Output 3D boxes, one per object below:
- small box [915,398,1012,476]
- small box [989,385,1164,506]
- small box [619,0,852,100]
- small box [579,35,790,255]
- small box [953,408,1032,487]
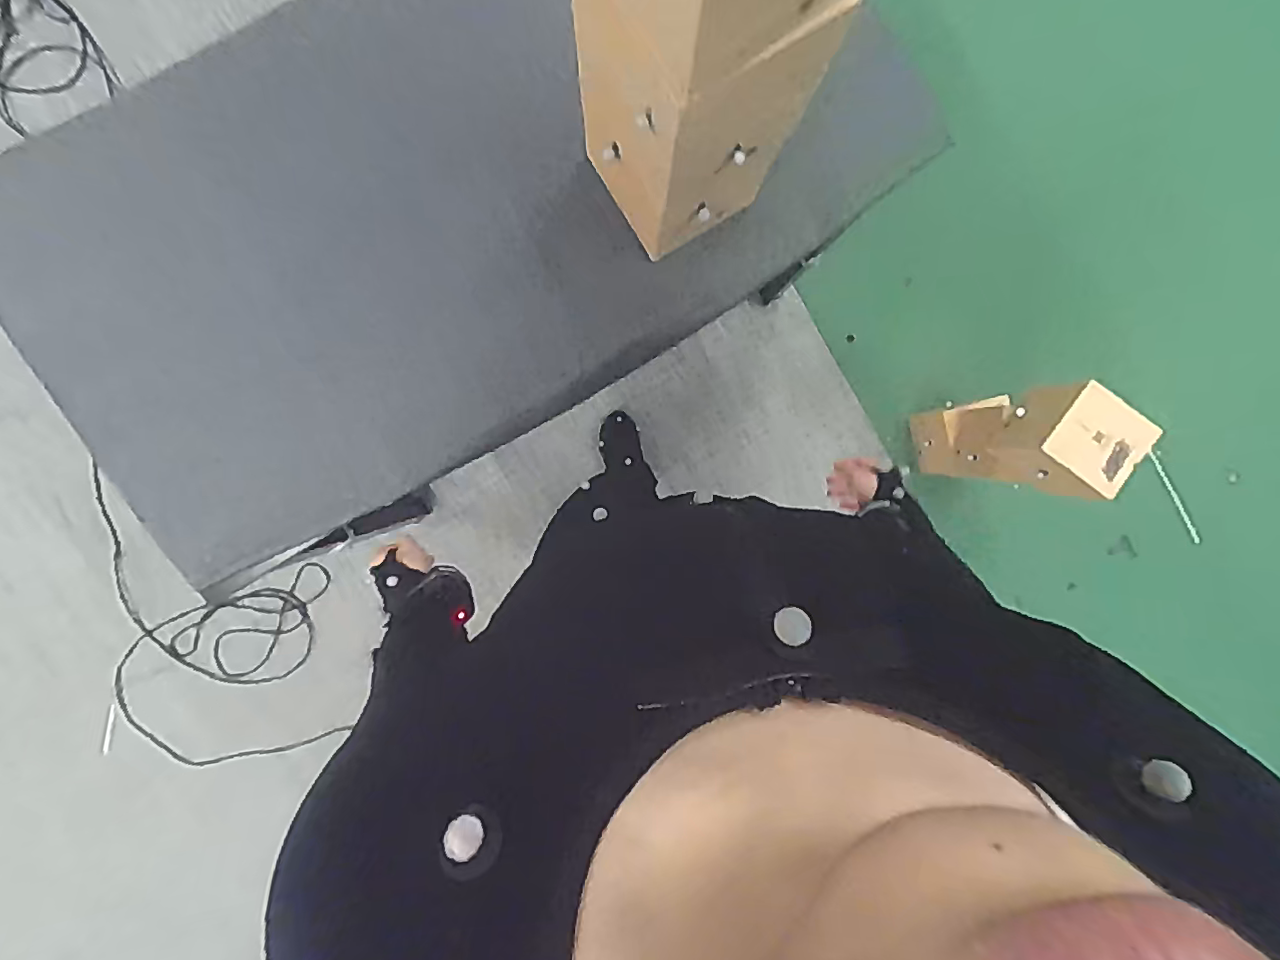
[{"bbox_3d":[0.851,-0.108,1.420,0.179,0.176,0.168,-15,93,-1],"label":"small box"},{"bbox_3d":[0.869,-0.071,1.095,0.179,0.176,0.168,36,92,-2],"label":"small box"},{"bbox_3d":[0.055,-0.388,0.320,0.168,0.176,0.179,-35,91,0],"label":"small box"},{"bbox_3d":[0.047,-0.399,0.648,0.168,0.176,0.179,-32,92,-1],"label":"small box"},{"bbox_3d":[0.868,-0.071,1.260,0.179,0.176,0.168,6,94,-3],"label":"small box"}]
